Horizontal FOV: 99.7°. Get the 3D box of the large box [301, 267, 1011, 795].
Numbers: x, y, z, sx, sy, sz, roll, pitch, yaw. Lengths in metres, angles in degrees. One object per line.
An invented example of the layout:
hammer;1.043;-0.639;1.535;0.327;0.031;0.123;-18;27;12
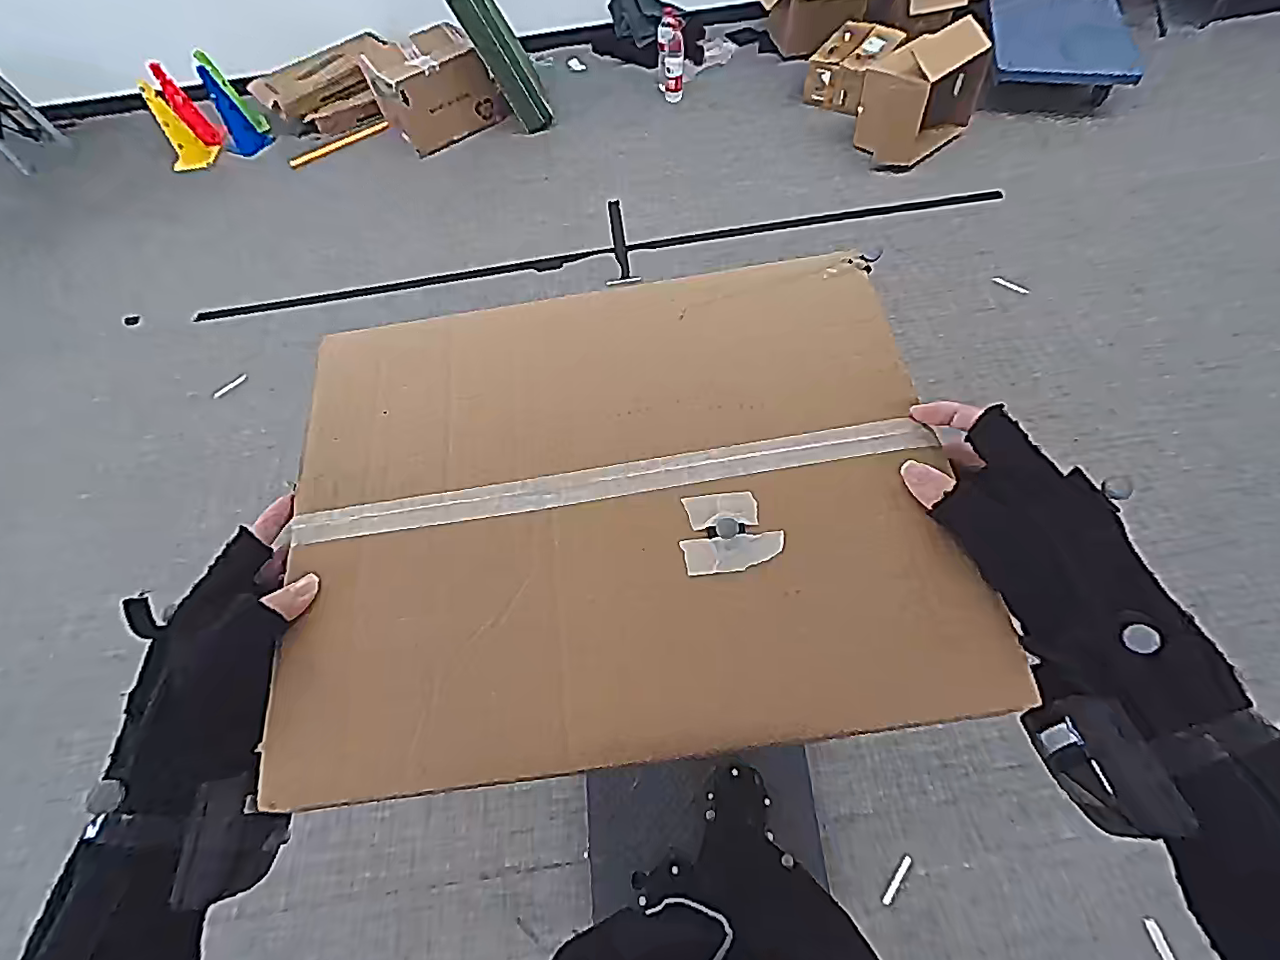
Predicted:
large box;-0.003;0.065;0.491;0.408;0.320;0.320;-9;66;1
